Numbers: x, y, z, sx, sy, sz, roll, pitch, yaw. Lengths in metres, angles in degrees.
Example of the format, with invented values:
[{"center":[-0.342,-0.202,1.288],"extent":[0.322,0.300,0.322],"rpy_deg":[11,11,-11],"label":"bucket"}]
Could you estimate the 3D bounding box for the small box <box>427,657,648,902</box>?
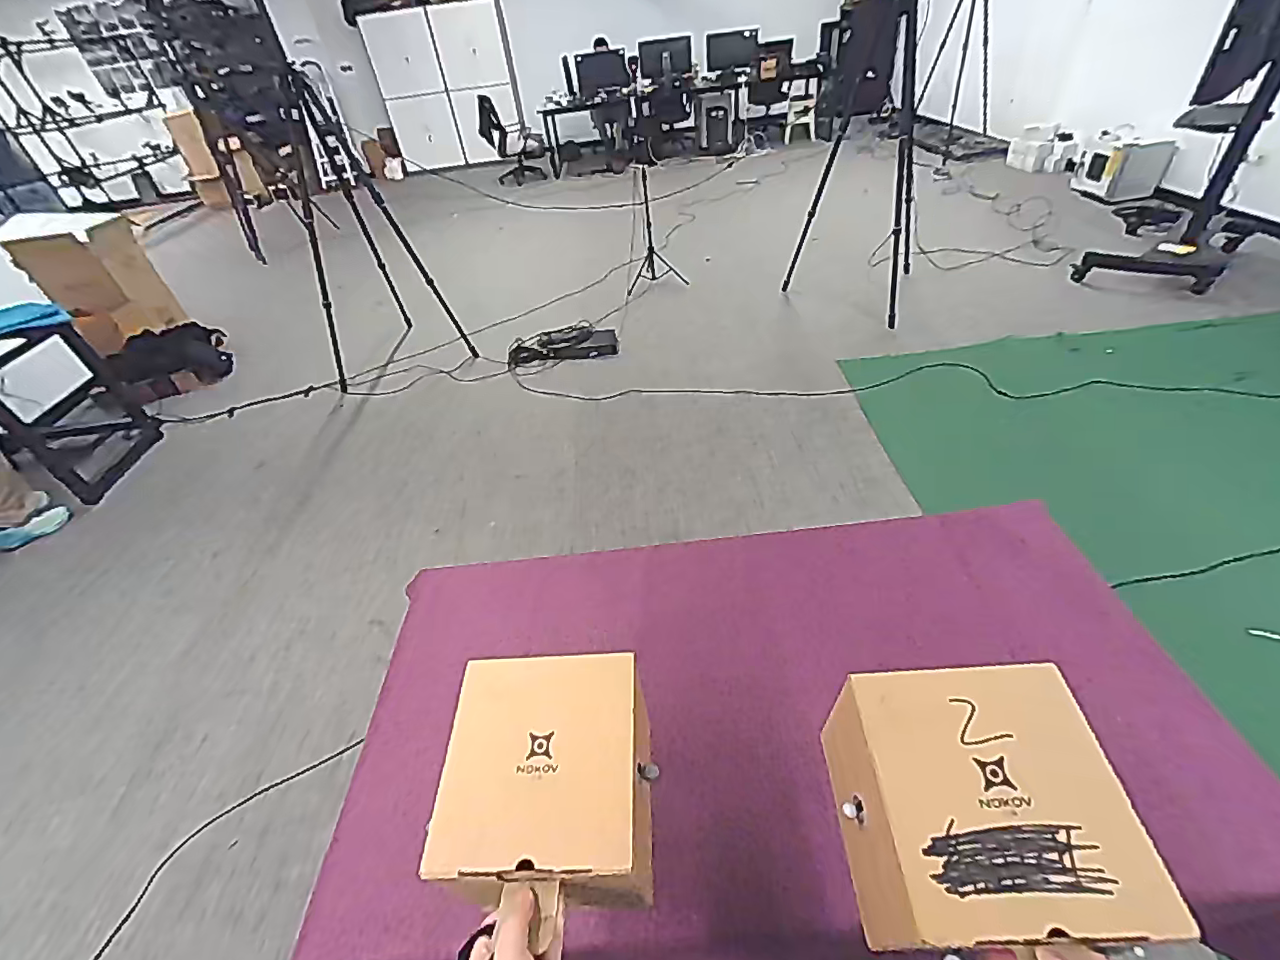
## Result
[{"center":[-0.082,0.297,0.536],"extent":[0.168,0.176,0.179],"rpy_deg":[-4,46,4],"label":"small box"}]
